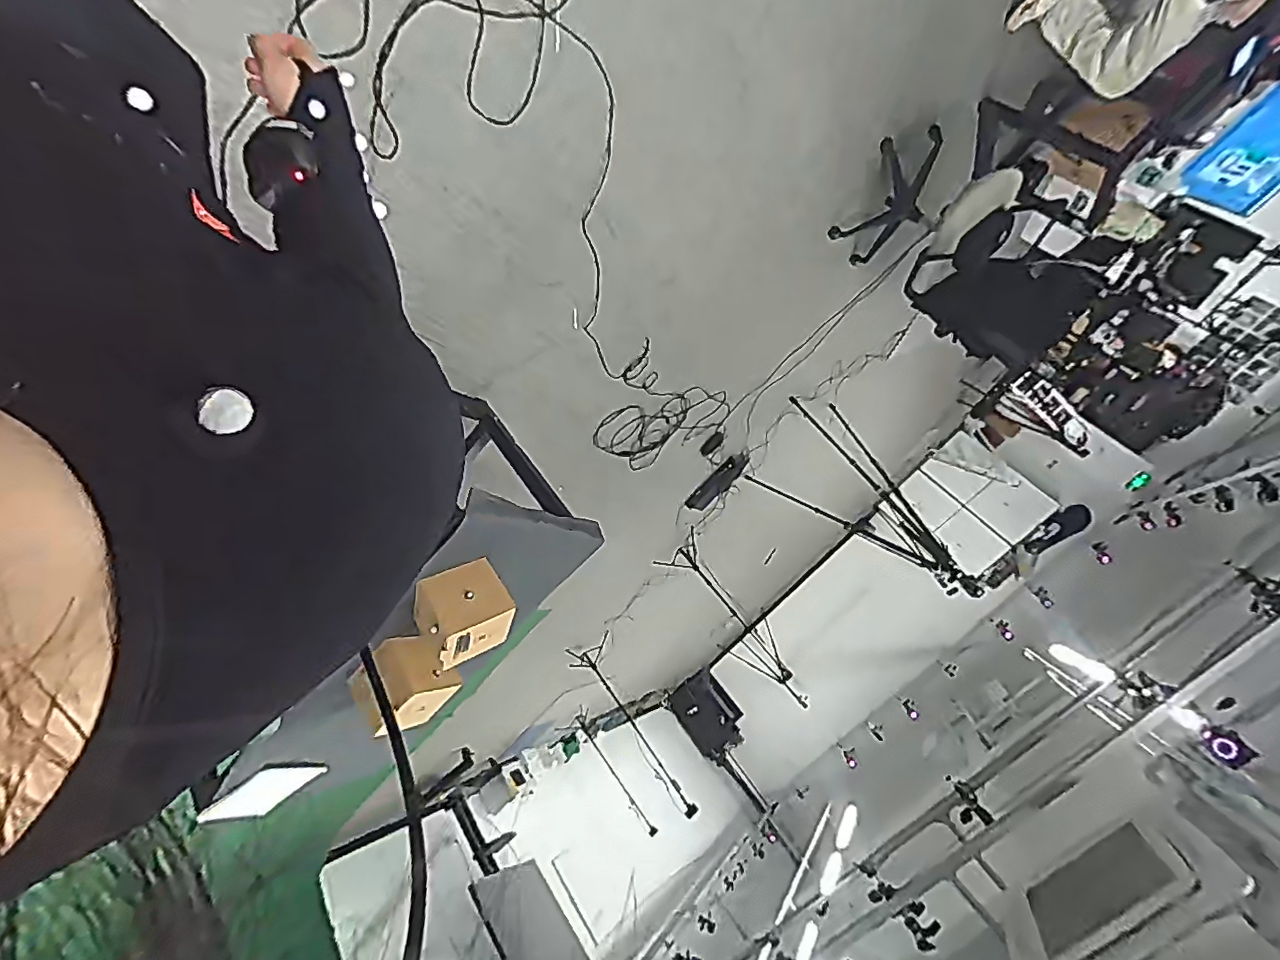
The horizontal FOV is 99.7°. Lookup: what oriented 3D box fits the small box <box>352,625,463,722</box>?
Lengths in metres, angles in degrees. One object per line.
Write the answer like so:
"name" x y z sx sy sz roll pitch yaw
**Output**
"small box" -0.607 0.494 1.413 0.168 0.176 0.179 -46 154 9
